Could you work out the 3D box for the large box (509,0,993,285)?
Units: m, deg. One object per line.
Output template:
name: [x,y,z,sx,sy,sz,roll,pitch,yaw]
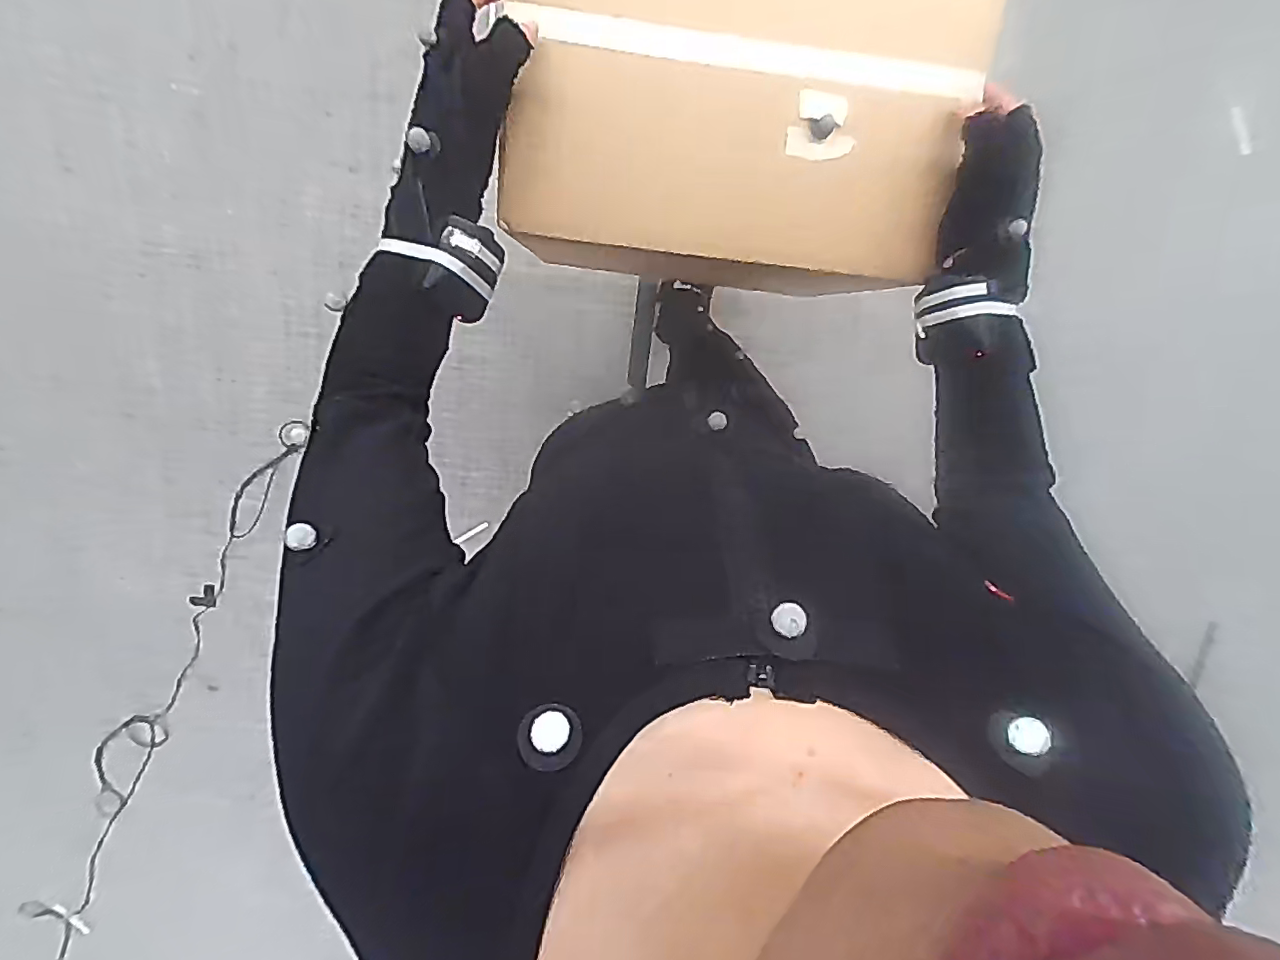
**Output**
large box: [0.082,-0.403,0.596,0.408,0.320,0.320,5,107,-5]
